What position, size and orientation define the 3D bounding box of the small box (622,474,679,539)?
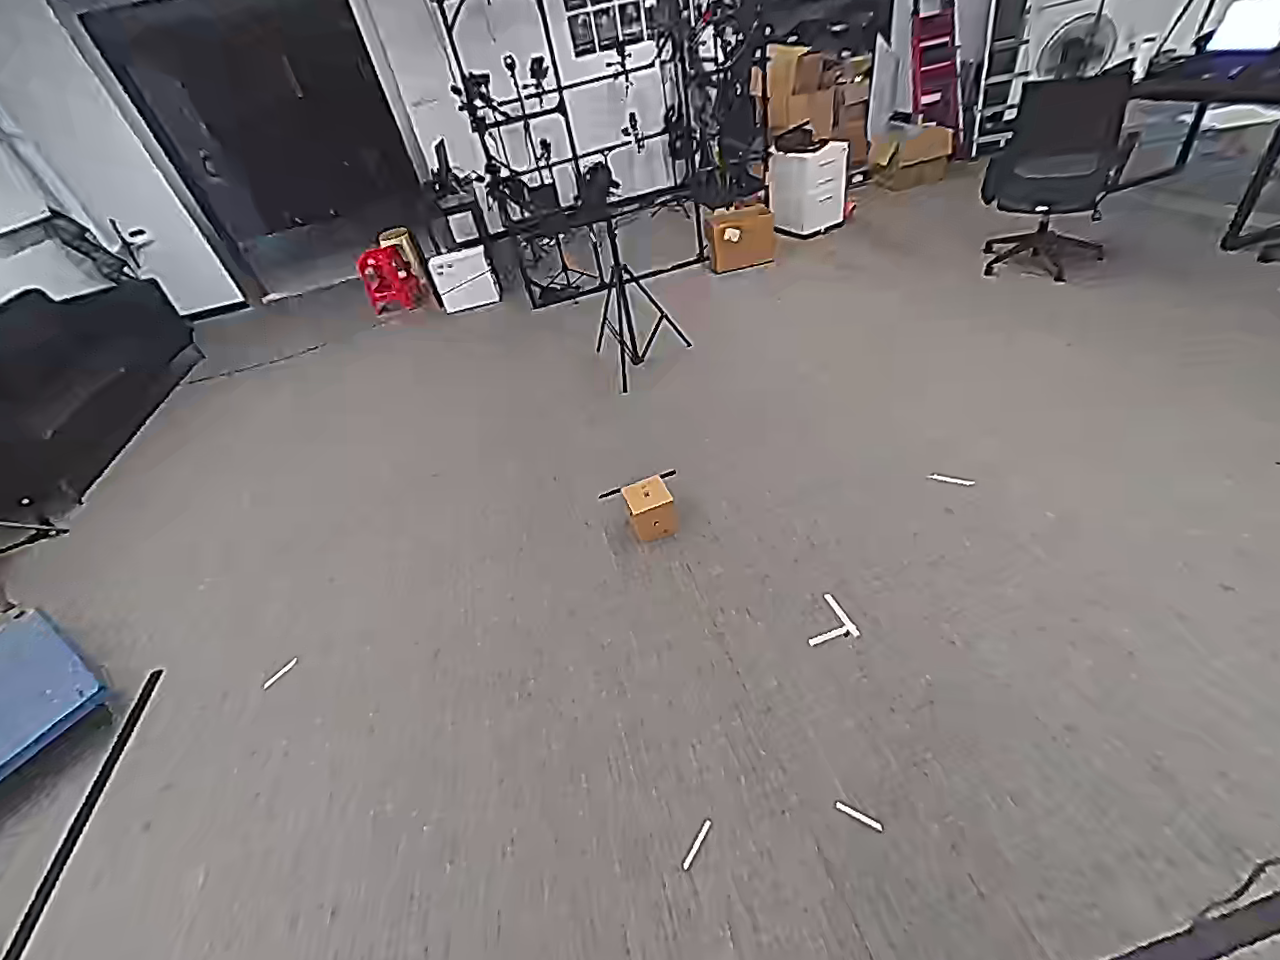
[{"bbox_3d":[0.046,0.113,2.146,0.168,0.176,0.179,-20,39,-8],"label":"small box"}]
